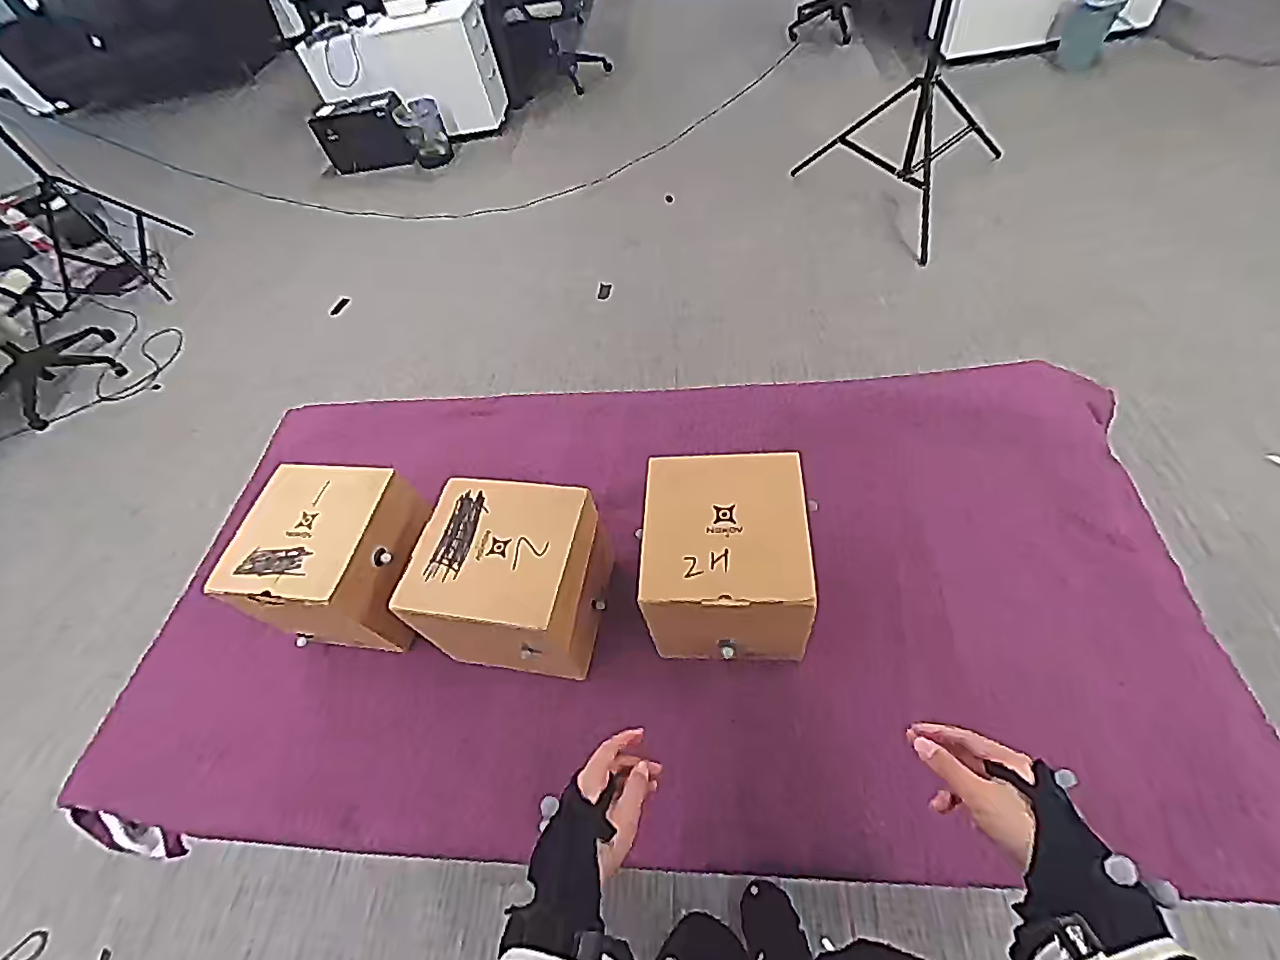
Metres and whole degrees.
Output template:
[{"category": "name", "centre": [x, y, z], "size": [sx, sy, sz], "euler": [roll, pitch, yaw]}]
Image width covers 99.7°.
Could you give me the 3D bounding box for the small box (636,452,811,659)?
[{"category": "small box", "centre": [0.095, 0.087, 0.615], "size": [0.168, 0.176, 0.179], "euler": [-2, 54, 10]}]

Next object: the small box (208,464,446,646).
[{"category": "small box", "centre": [-0.377, 0.099, 0.693], "size": [0.168, 0.176, 0.179], "euler": [3, 55, 12]}]
